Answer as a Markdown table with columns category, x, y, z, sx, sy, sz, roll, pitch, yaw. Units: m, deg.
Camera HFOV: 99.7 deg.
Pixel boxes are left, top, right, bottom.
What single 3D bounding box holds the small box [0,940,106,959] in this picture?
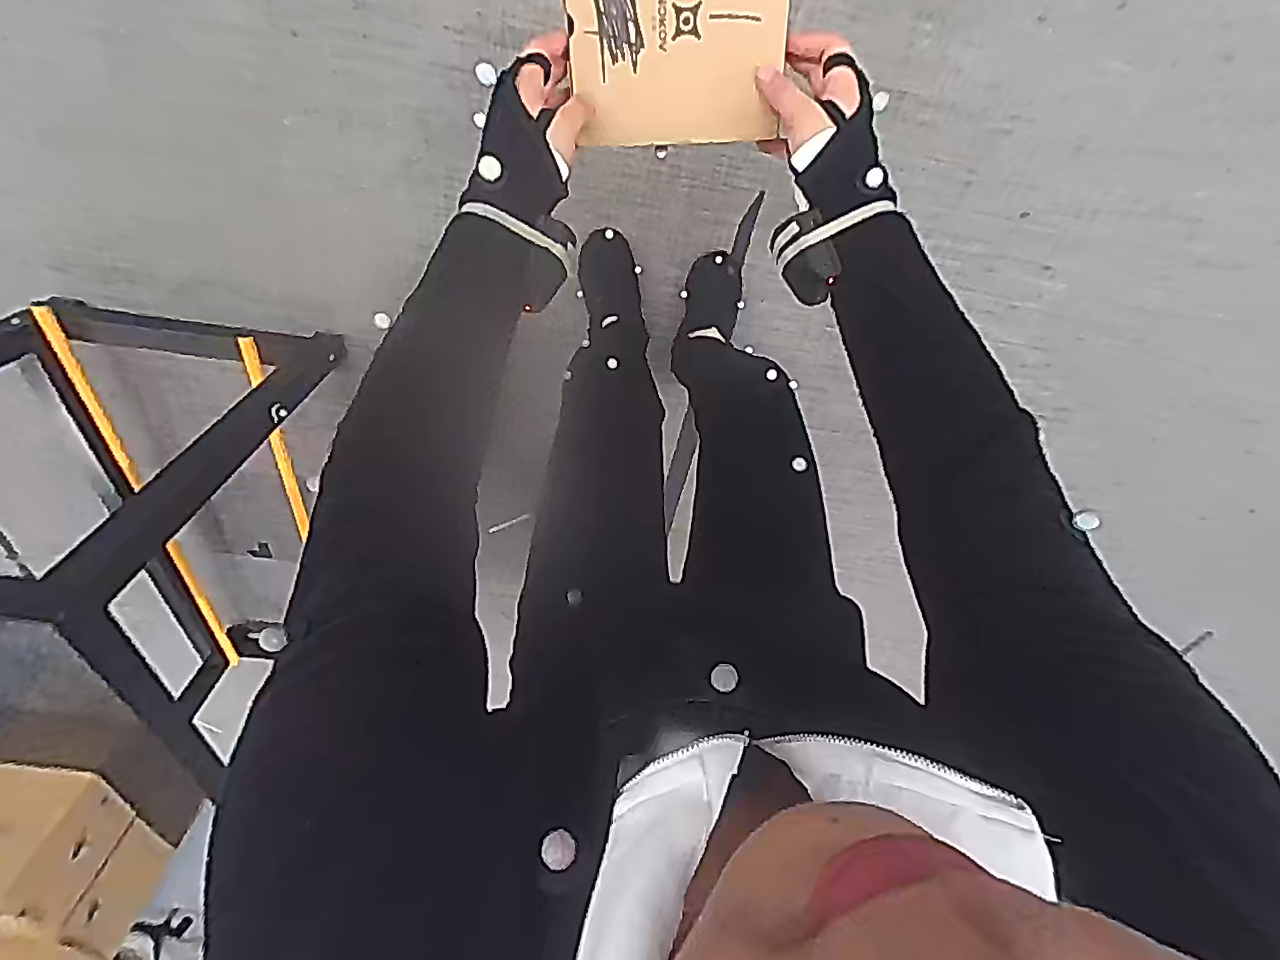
| category | x | y | z | sx | sy | sz | roll | pitch | yaw |
| --- | --- | --- | --- | --- | --- | --- | --- | --- | --- |
| small box | -0.946 | 0.793 | 0.787 | 0.179 | 0.176 | 0.168 | 9 | 130 | -8 |

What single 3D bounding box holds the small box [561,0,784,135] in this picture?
| category | x | y | z | sx | sy | sz | roll | pitch | yaw |
| --- | --- | --- | --- | --- | --- | --- | --- | --- | --- |
| small box | 0.028 | -0.414 | 0.487 | 0.179 | 0.176 | 0.168 | -1 | 126 | 2 |
